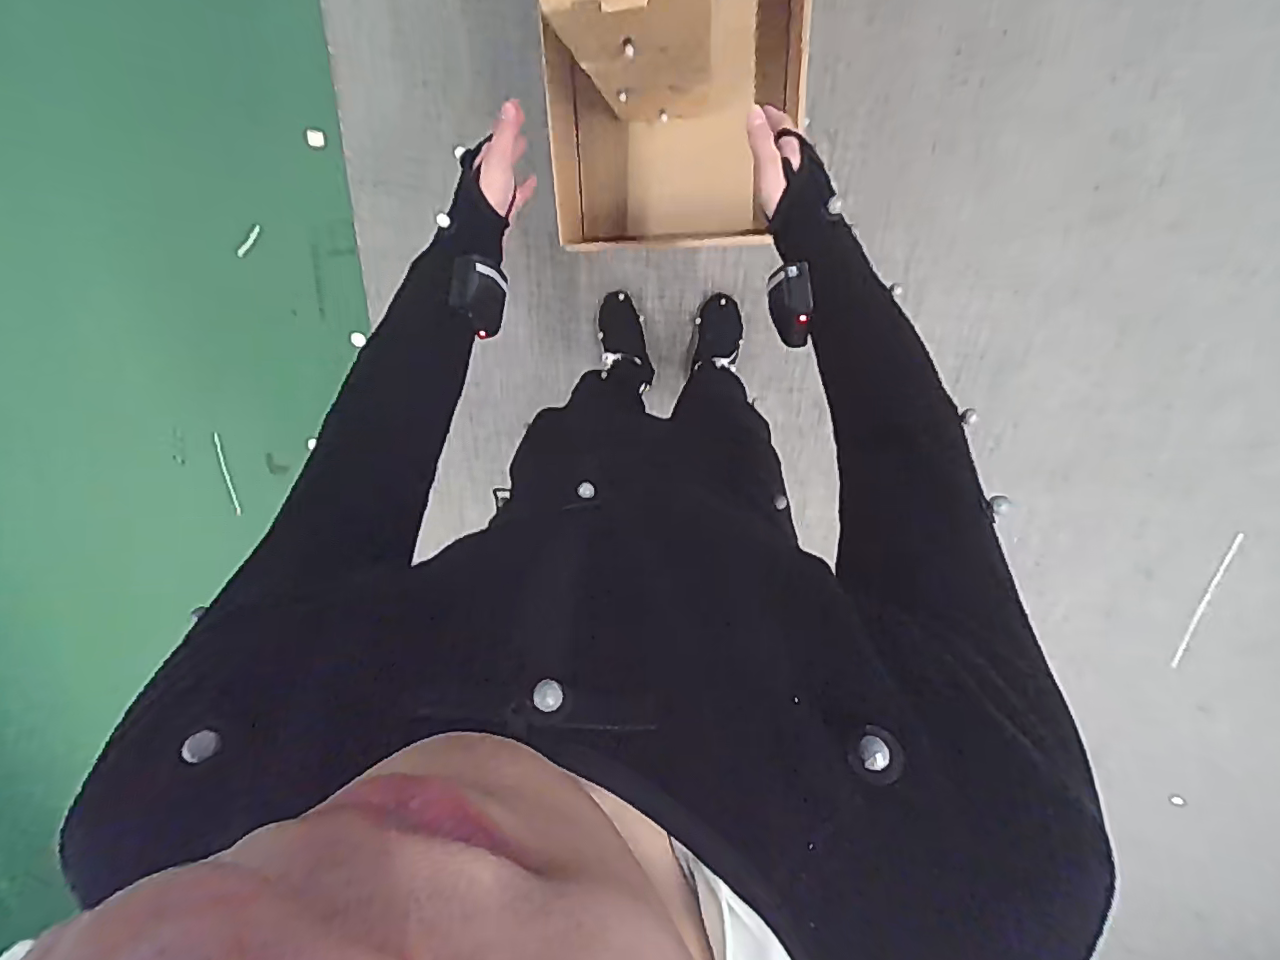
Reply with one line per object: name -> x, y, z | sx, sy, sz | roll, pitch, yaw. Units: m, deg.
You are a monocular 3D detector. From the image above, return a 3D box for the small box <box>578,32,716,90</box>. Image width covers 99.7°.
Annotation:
small box -> 0.012, -0.624, 0.689 | 0.168, 0.176, 0.179 | -1, 111, 8

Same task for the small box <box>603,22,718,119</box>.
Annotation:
small box -> 0.035, -0.686, 0.839 | 0.168, 0.176, 0.179 | 2, 112, 8

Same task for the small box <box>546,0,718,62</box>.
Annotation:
small box -> -0.006, -0.558, 0.542 | 0.168, 0.176, 0.179 | -1, 113, 8
